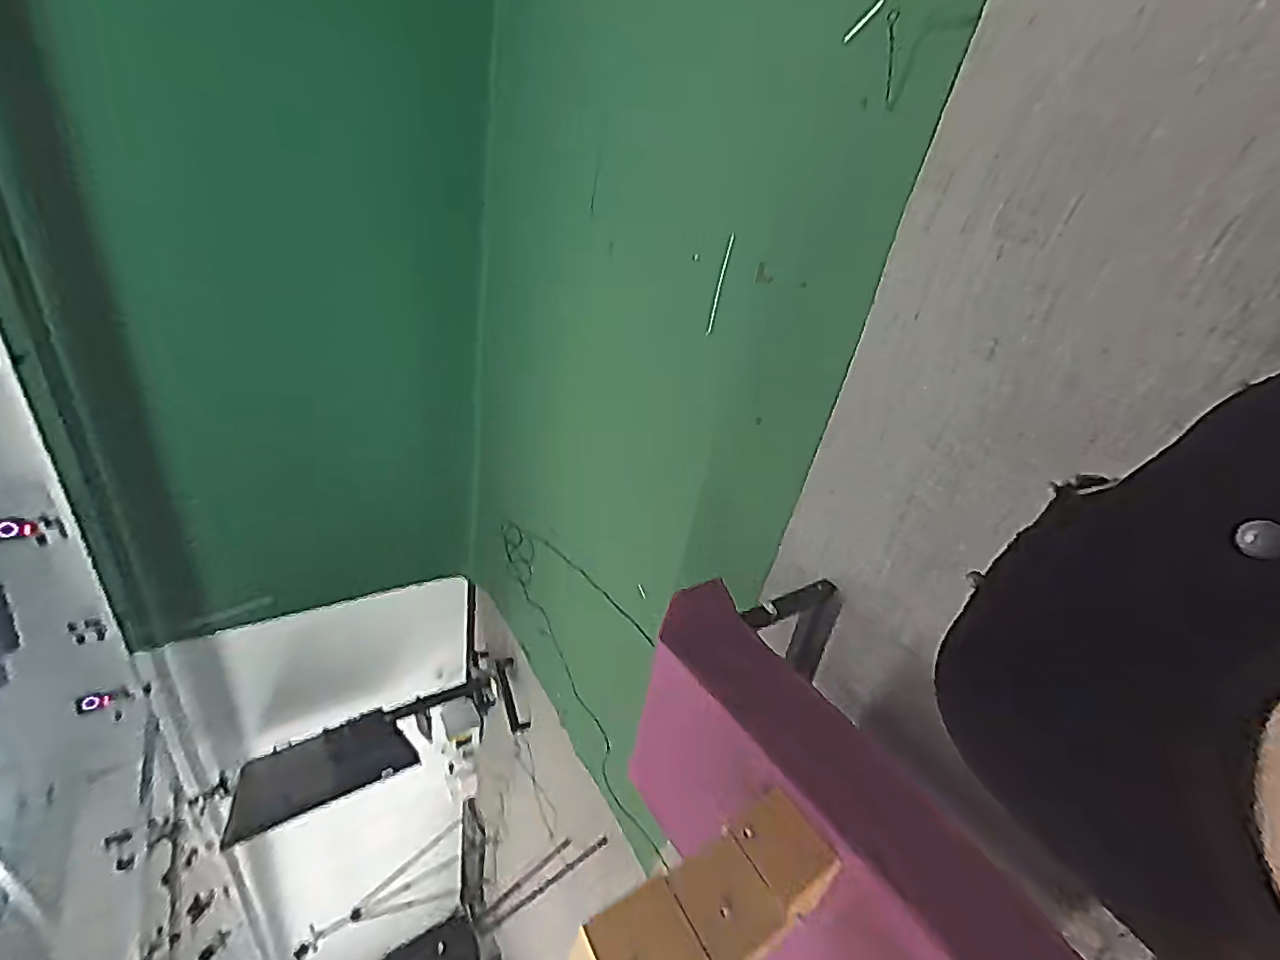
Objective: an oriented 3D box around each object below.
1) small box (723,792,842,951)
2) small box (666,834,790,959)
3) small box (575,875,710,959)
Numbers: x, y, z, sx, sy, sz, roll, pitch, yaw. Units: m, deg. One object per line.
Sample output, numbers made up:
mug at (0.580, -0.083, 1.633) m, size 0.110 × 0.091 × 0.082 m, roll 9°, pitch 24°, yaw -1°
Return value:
small box at (0.280, 0.793, 1.111) m, size 0.179 × 0.176 × 0.168 m, roll 40°, pitch 130°, yaw 44°
small box at (0.149, 0.821, 1.016) m, size 0.179 × 0.176 × 0.168 m, roll 44°, pitch 132°, yaw 41°
small box at (0.009, 0.841, 0.930) m, size 0.179 × 0.176 × 0.168 m, roll 45°, pitch 134°, yaw 42°
